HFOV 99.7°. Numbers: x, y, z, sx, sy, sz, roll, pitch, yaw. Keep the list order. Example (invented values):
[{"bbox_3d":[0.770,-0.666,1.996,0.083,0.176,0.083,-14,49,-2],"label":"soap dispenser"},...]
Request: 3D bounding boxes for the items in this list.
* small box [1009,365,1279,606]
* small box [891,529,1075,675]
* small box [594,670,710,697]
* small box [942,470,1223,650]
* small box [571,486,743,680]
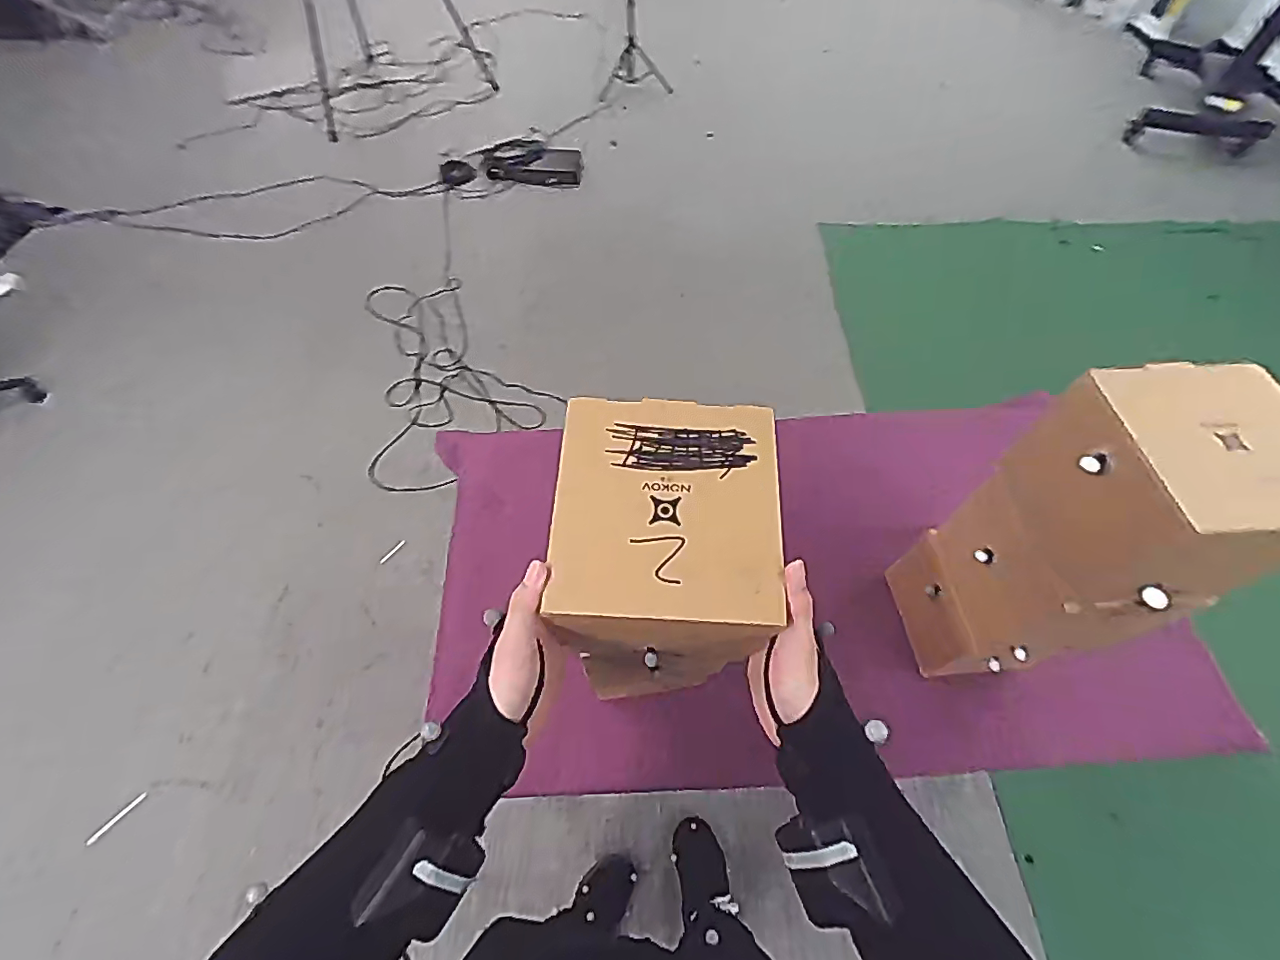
[{"bbox_3d":[0.505,0.010,0.521,0.168,0.176,0.179,-1,58,0],"label":"small box"},{"bbox_3d":[0.504,0.182,0.800,0.168,0.176,0.179,-4,57,-2],"label":"small box"},{"bbox_3d":[0.007,0.199,0.784,0.168,0.176,0.179,-7,59,-4],"label":"small box"},{"bbox_3d":[0.507,0.102,0.656,0.168,0.176,0.179,-2,57,-2],"label":"small box"},{"bbox_3d":[0.012,0.128,0.633,0.168,0.176,0.179,-5,59,-5],"label":"small box"}]
